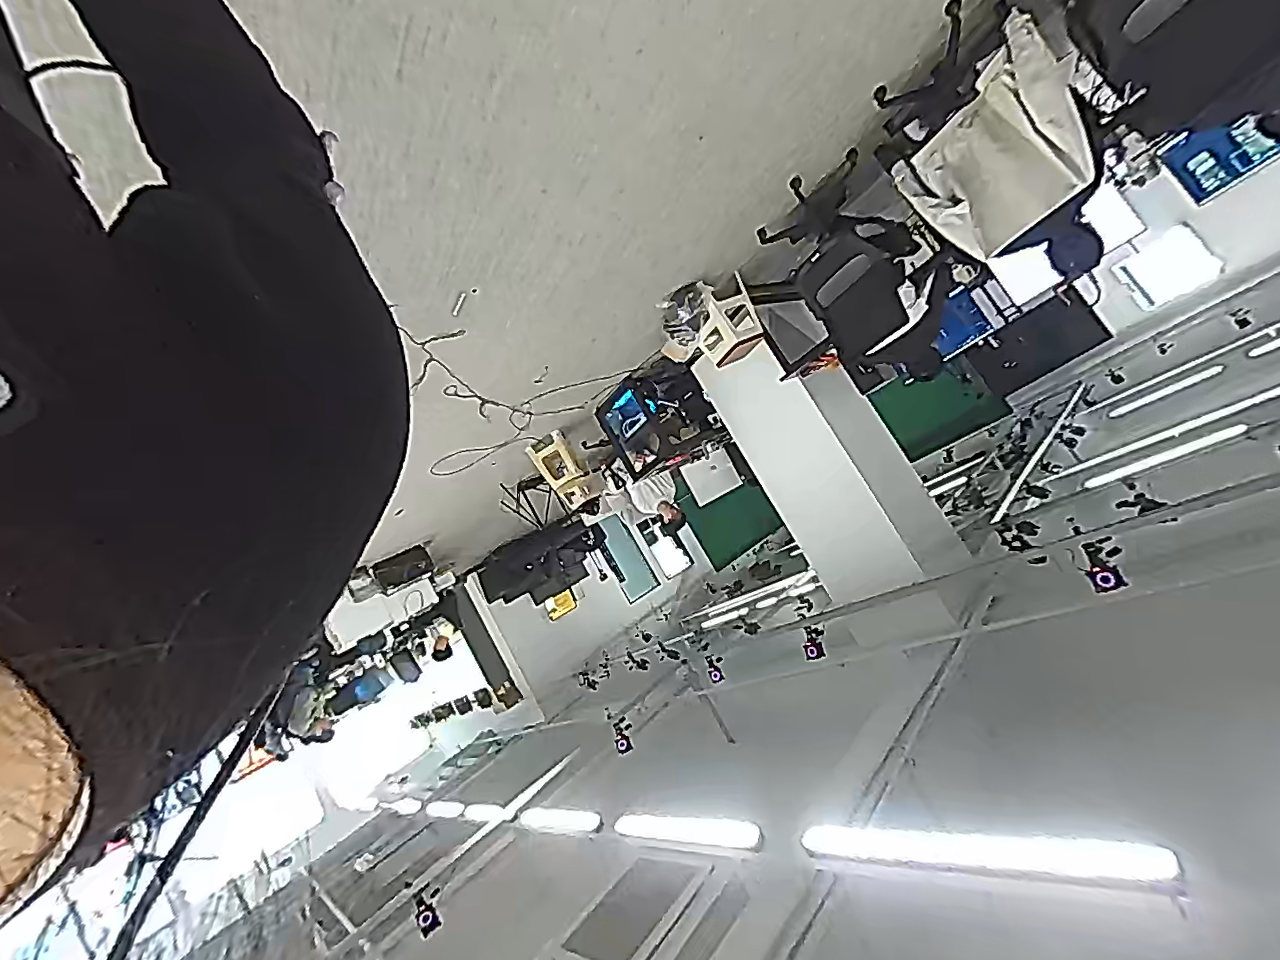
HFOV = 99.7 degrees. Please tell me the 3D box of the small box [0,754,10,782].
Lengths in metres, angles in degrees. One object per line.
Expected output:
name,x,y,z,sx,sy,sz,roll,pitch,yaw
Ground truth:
small box,-2.021,0.847,1.584,0.179,0.176,0.168,-25,172,-45
